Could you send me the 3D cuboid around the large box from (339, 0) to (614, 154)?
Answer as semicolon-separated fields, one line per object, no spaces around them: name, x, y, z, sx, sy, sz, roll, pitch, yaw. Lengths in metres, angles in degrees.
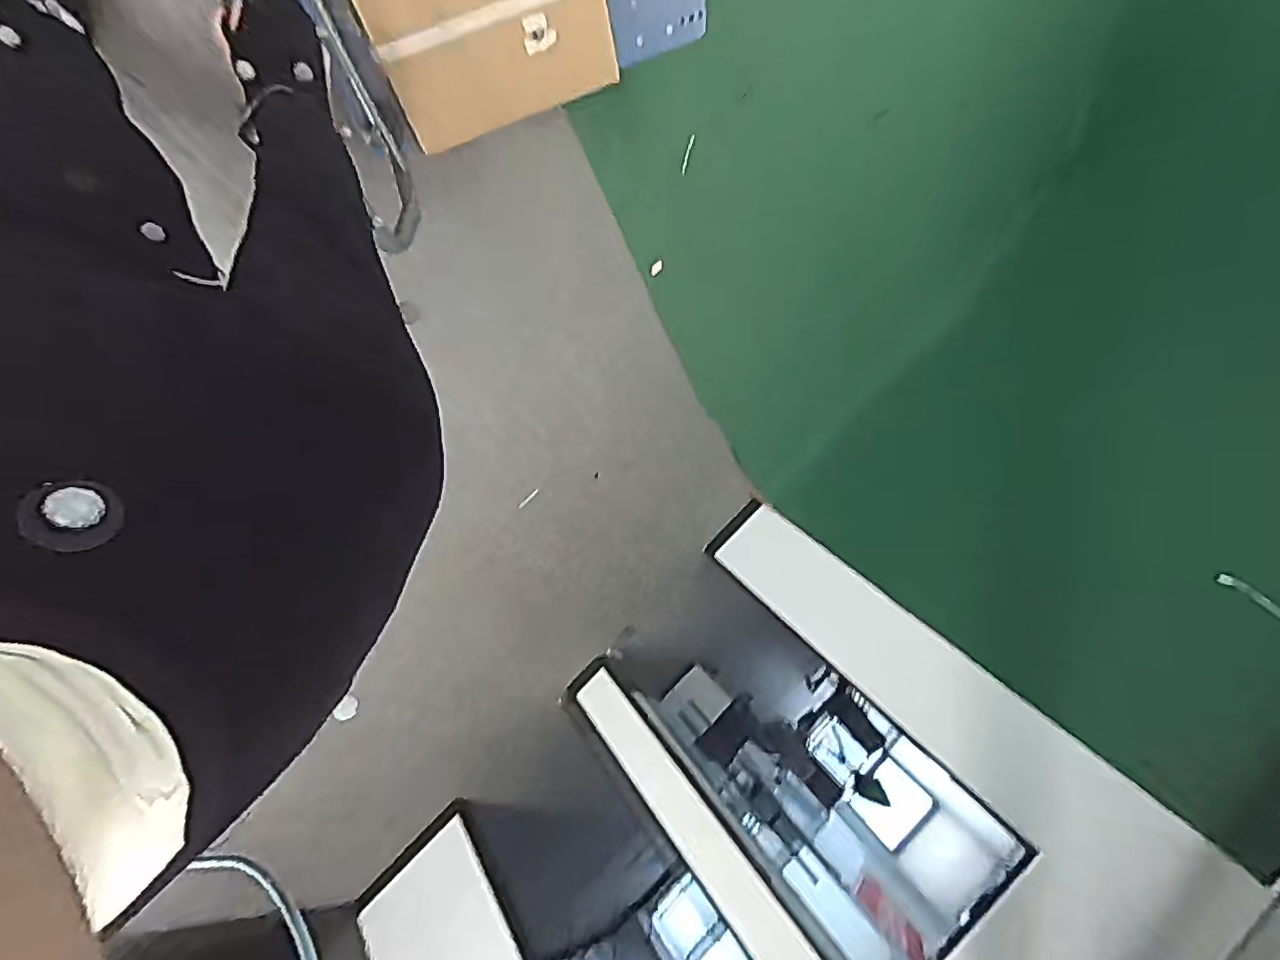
large box;-0.320;-0.877;1.002;0.408;0.320;0.320;-28;140;-8
